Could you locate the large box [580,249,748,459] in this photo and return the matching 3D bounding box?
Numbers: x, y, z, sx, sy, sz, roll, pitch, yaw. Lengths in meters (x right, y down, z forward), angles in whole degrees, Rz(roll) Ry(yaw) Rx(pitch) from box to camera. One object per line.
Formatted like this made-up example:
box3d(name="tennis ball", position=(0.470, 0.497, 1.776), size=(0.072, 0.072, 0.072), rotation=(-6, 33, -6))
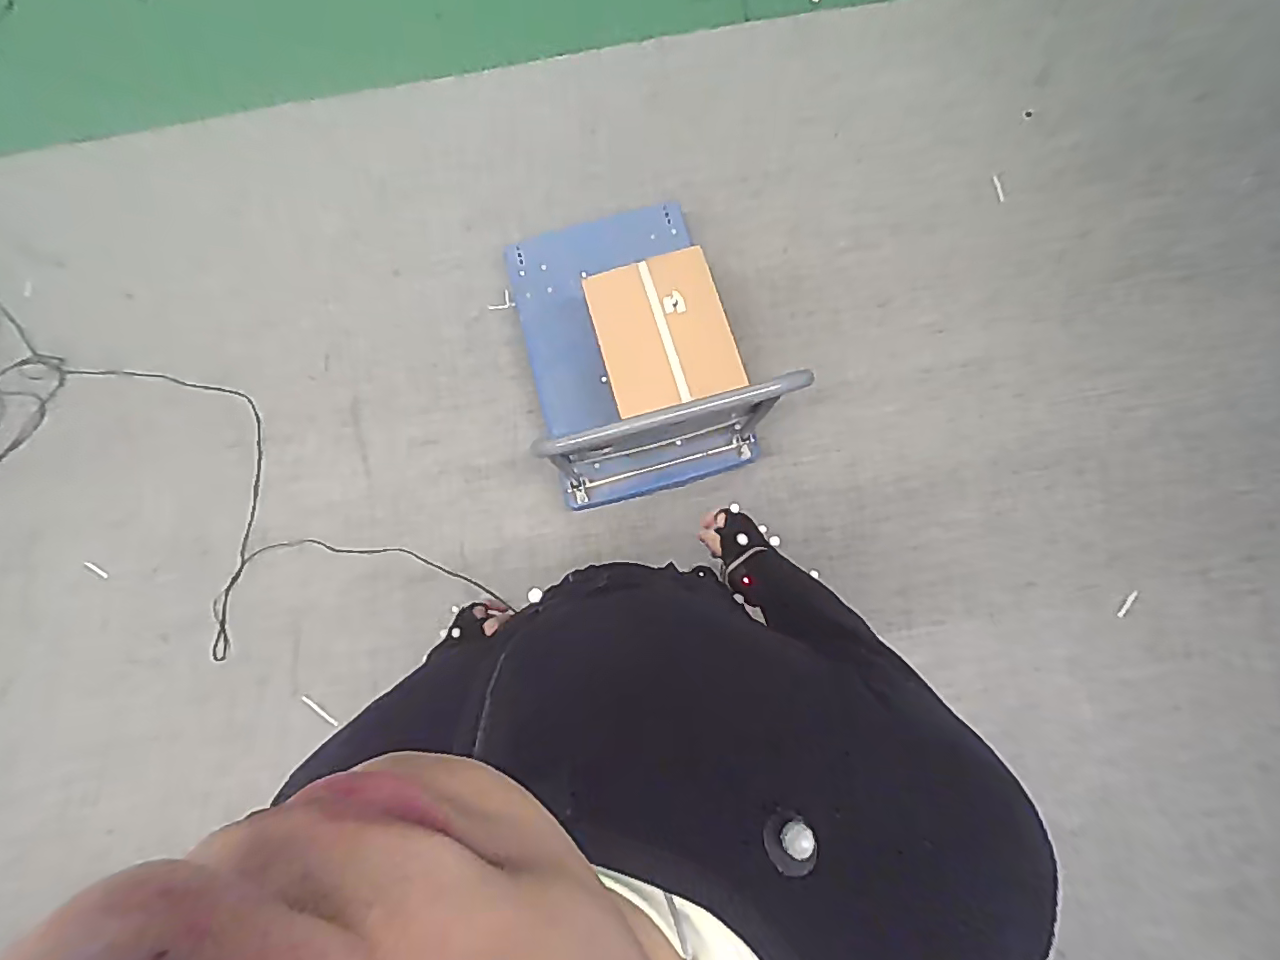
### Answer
box3d(name="large box", position=(0.060, -0.316, 1.442), size=(0.320, 0.320, 0.408), rotation=(-16, 78, -2))
